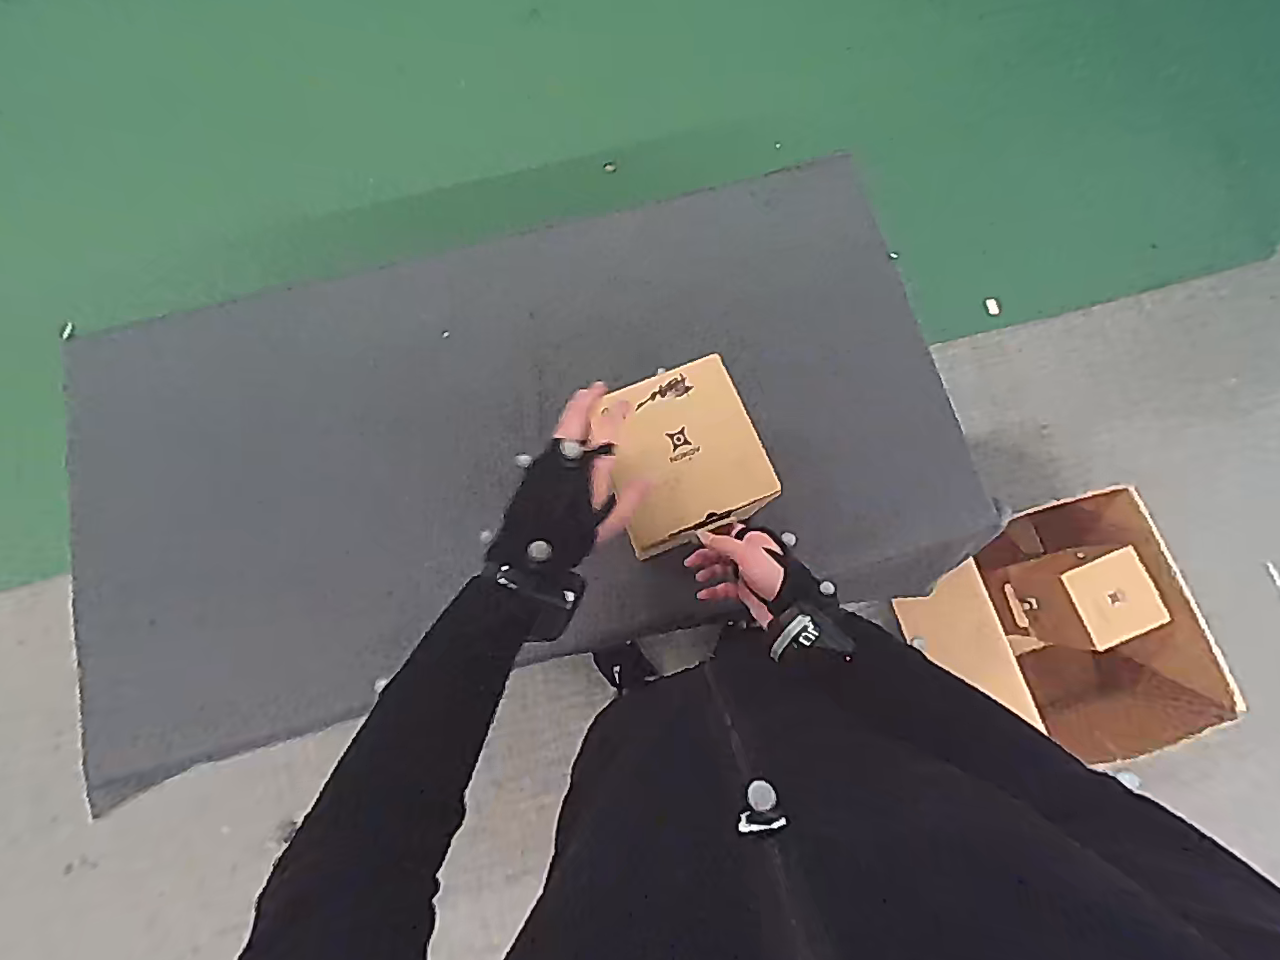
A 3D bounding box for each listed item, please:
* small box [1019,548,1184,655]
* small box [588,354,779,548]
[{"bbox_3d":[0.975,0.254,1.160,0.179,0.176,0.168,-22,81,-3],"label":"small box"},{"bbox_3d":[0.047,-0.022,0.670,0.168,0.176,0.179,-21,79,-5],"label":"small box"}]
